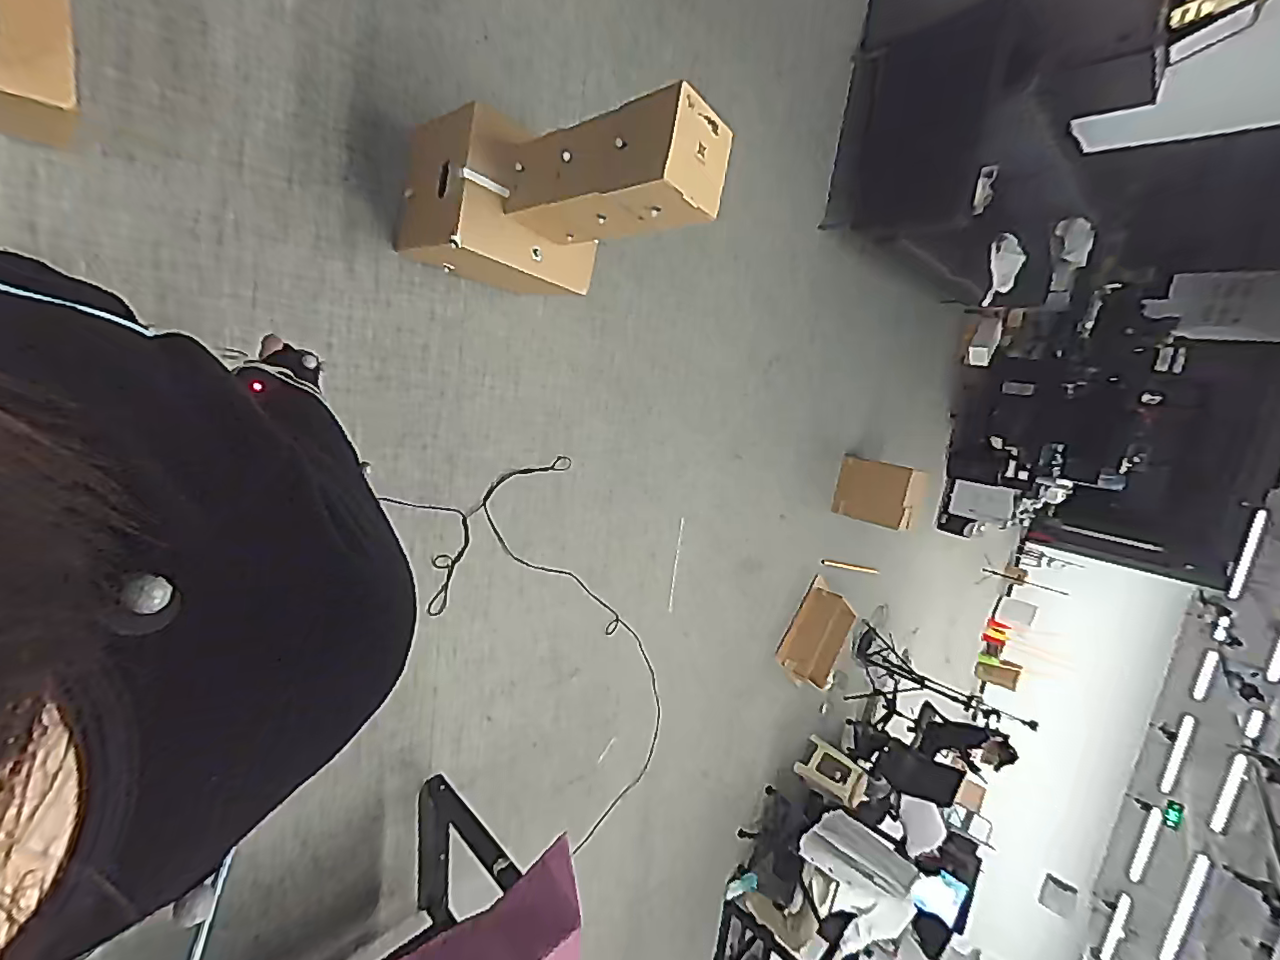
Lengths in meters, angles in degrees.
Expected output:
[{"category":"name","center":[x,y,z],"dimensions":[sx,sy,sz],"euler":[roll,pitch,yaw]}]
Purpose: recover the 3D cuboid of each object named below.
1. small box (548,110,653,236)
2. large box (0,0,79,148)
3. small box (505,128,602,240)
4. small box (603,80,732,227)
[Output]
[{"category":"small box","center":[-0.068,-0.647,1.166],"dimensions":[0.179,0.176,0.168],"euler":[11,92,-47]},{"category":"large box","center":[-1.010,-0.750,0.740],"dimensions":[0.320,0.320,0.408],"euler":[-5,106,-46]},{"category":"small box","center":[-0.187,-0.683,1.274],"dimensions":[0.179,0.176,0.168],"euler":[9,94,-48]},{"category":"small box","center":[0.049,-0.618,1.055],"dimensions":[0.168,0.176,0.179],"euler":[10,94,-48]}]
